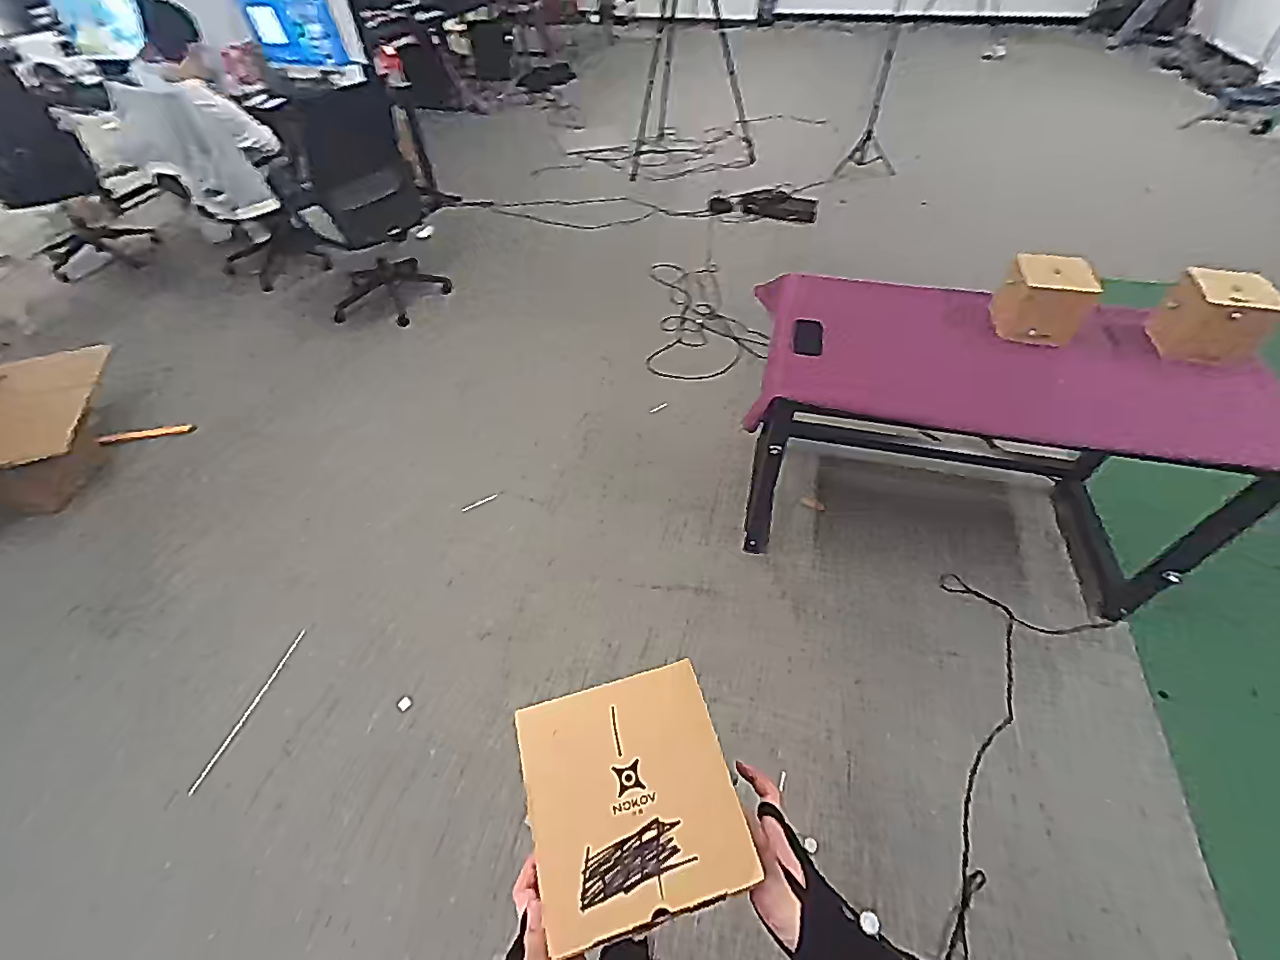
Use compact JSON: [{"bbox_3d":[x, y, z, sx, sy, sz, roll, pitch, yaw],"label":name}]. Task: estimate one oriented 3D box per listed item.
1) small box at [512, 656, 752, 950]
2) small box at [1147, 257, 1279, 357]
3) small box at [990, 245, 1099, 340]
[{"bbox_3d":[-0.011,0.292,0.507,0.168,0.176,0.179,-14,56,-8],"label":"small box"},{"bbox_3d":[1.444,-0.437,1.366,0.168,0.176,0.179,10,50,13],"label":"small box"},{"bbox_3d":[1.066,-0.502,1.444,0.168,0.176,0.179,9,51,12],"label":"small box"}]
